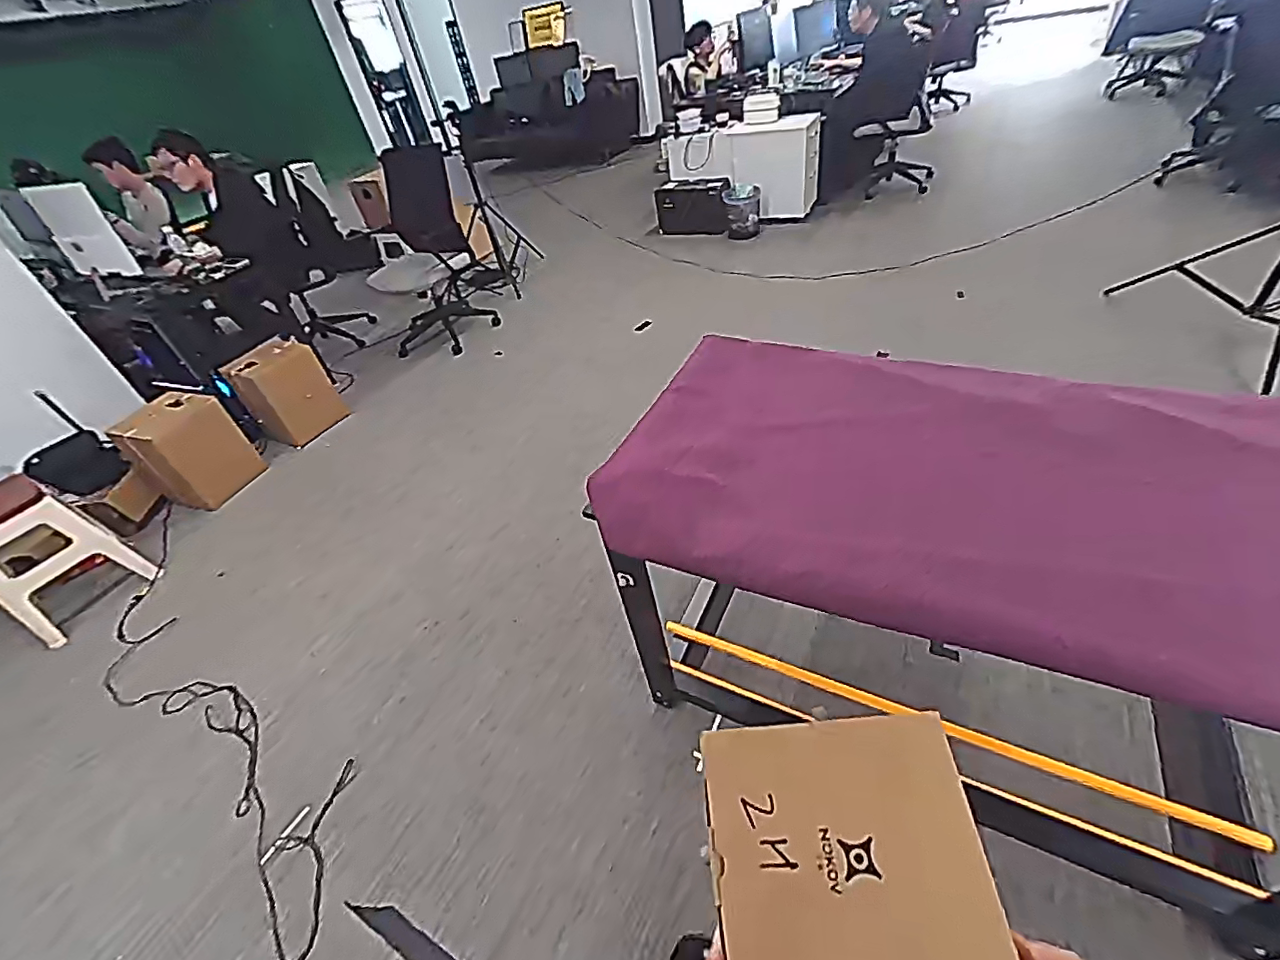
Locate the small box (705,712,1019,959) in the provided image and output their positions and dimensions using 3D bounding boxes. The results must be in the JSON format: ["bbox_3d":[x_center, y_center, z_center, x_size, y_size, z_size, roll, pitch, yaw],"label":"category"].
[{"bbox_3d":[0.149,0.287,0.427,0.179,0.176,0.168,-7,58,6],"label":"small box"}]
